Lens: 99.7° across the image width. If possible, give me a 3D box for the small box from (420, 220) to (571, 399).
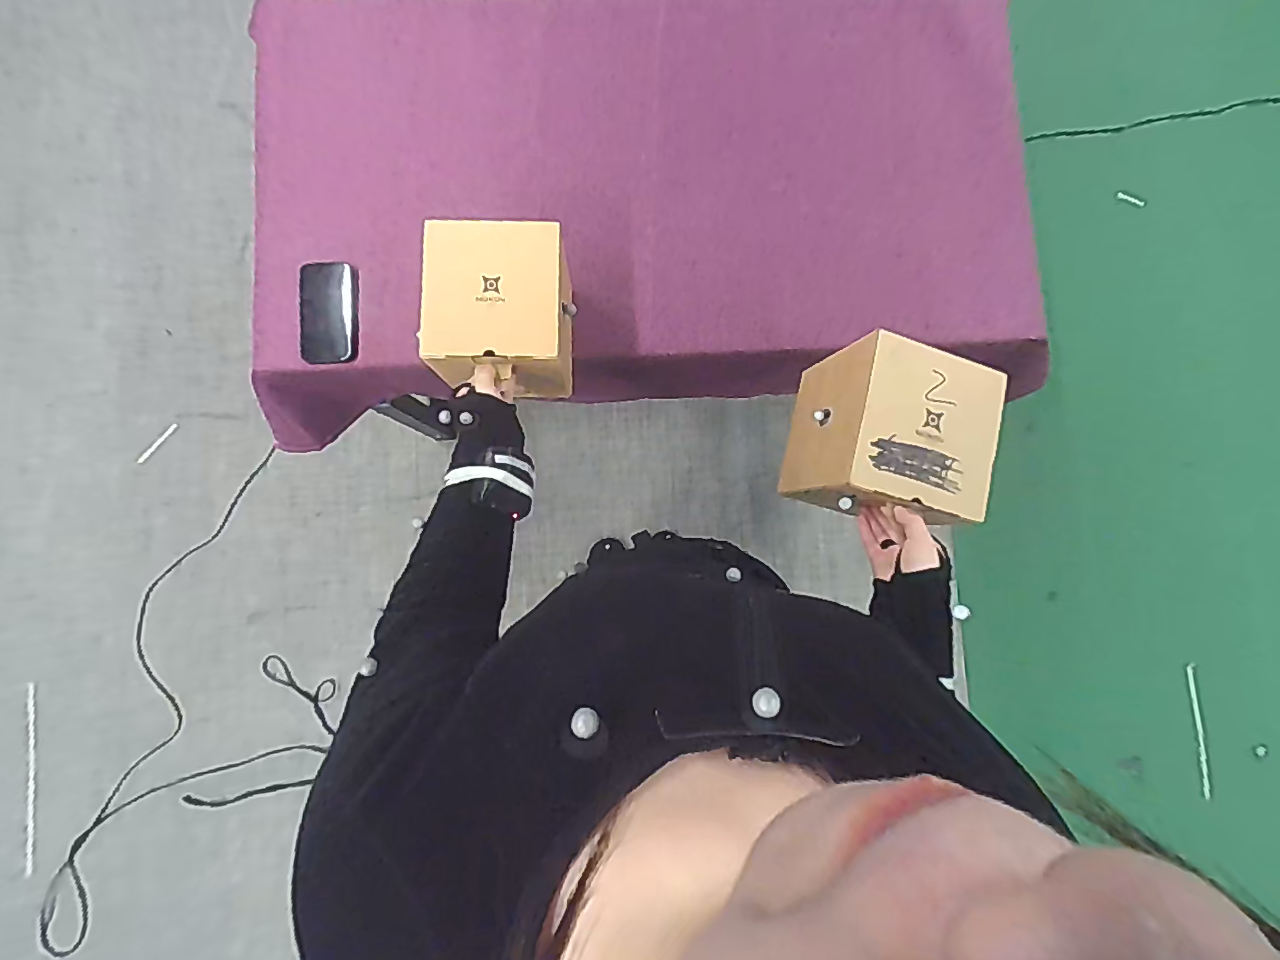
[{"bbox_3d":[-0.182,-0.218,0.728,0.168,0.176,0.179,0,84,-3],"label":"small box"}]
